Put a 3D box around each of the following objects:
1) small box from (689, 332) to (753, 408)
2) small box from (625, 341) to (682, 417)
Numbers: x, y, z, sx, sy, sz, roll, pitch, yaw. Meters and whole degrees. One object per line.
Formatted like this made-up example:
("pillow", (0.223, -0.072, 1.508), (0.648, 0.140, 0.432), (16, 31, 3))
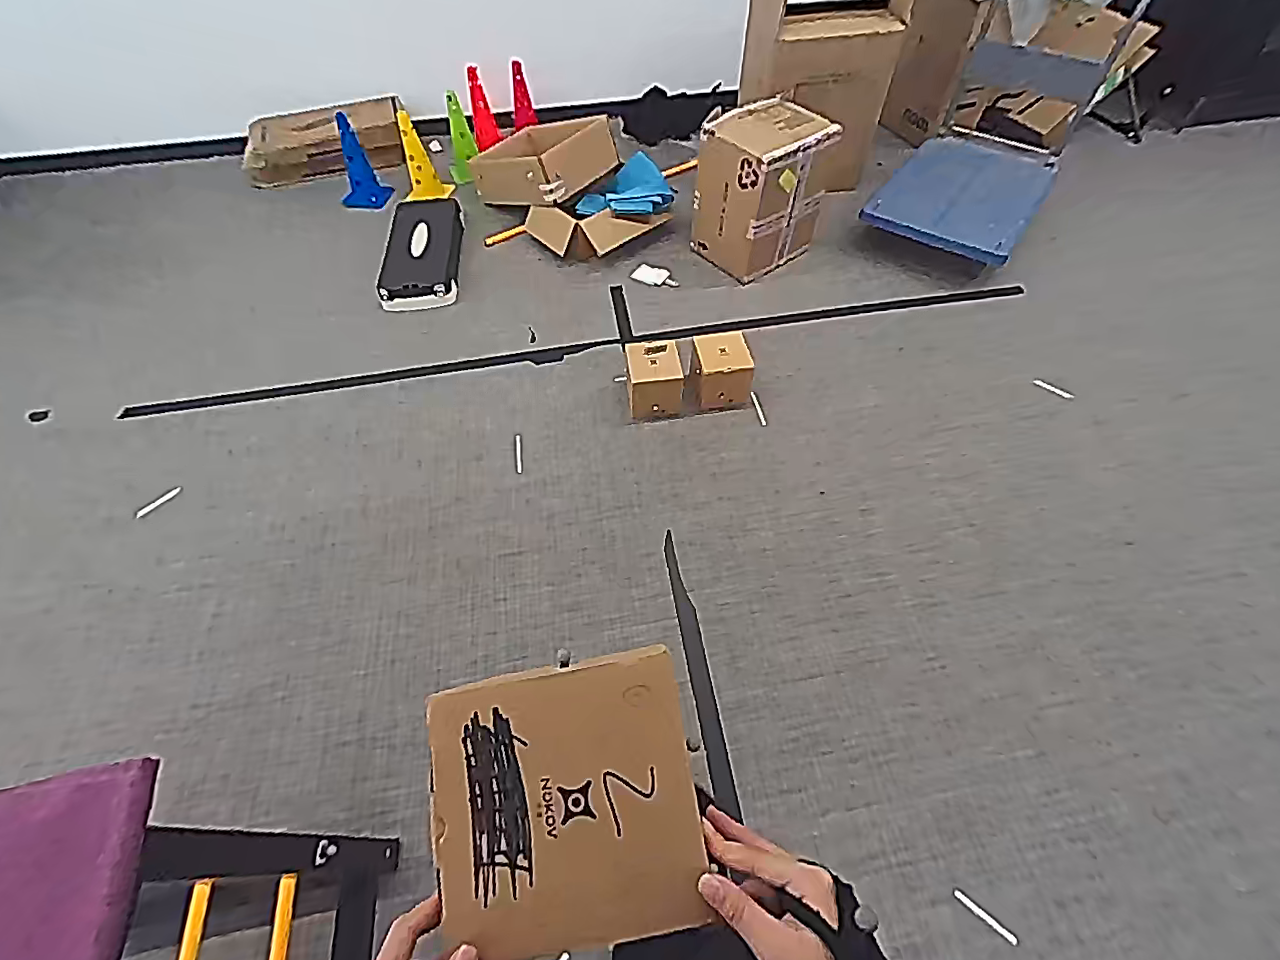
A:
("small box", (0.261, -0.365, 1.799), (0.168, 0.176, 0.179), (-8, 56, -5))
("small box", (0.039, -0.329, 1.772), (0.168, 0.176, 0.179), (-7, 56, -4))
